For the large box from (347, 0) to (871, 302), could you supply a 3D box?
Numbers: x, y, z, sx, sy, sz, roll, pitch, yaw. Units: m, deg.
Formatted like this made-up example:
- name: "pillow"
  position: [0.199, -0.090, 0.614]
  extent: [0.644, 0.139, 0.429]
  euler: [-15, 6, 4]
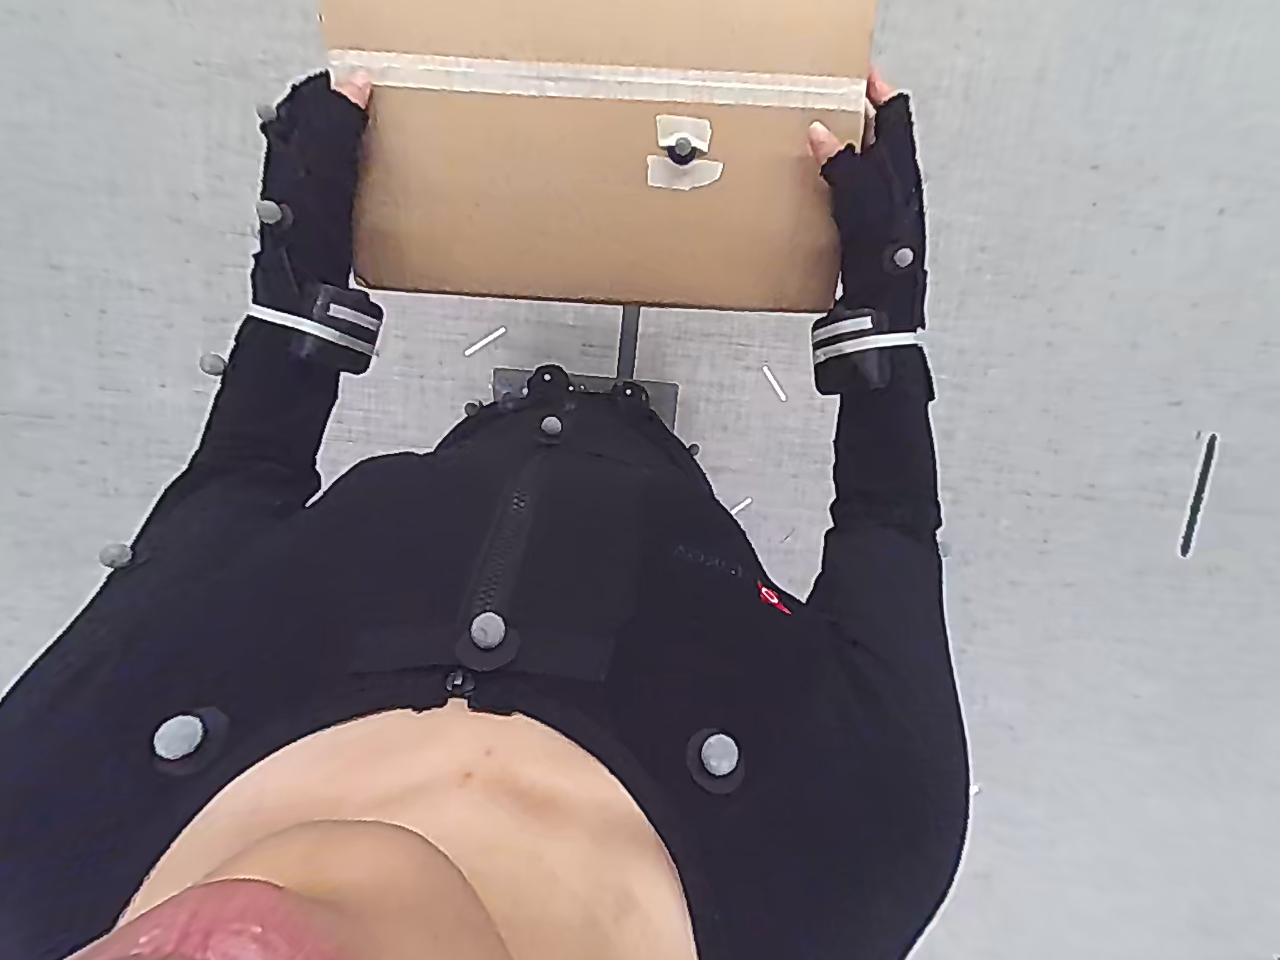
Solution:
- name: "large box"
  position: [-0.028, -0.357, 0.565]
  extent: [0.408, 0.320, 0.320]
  euler: [3, 108, -1]
